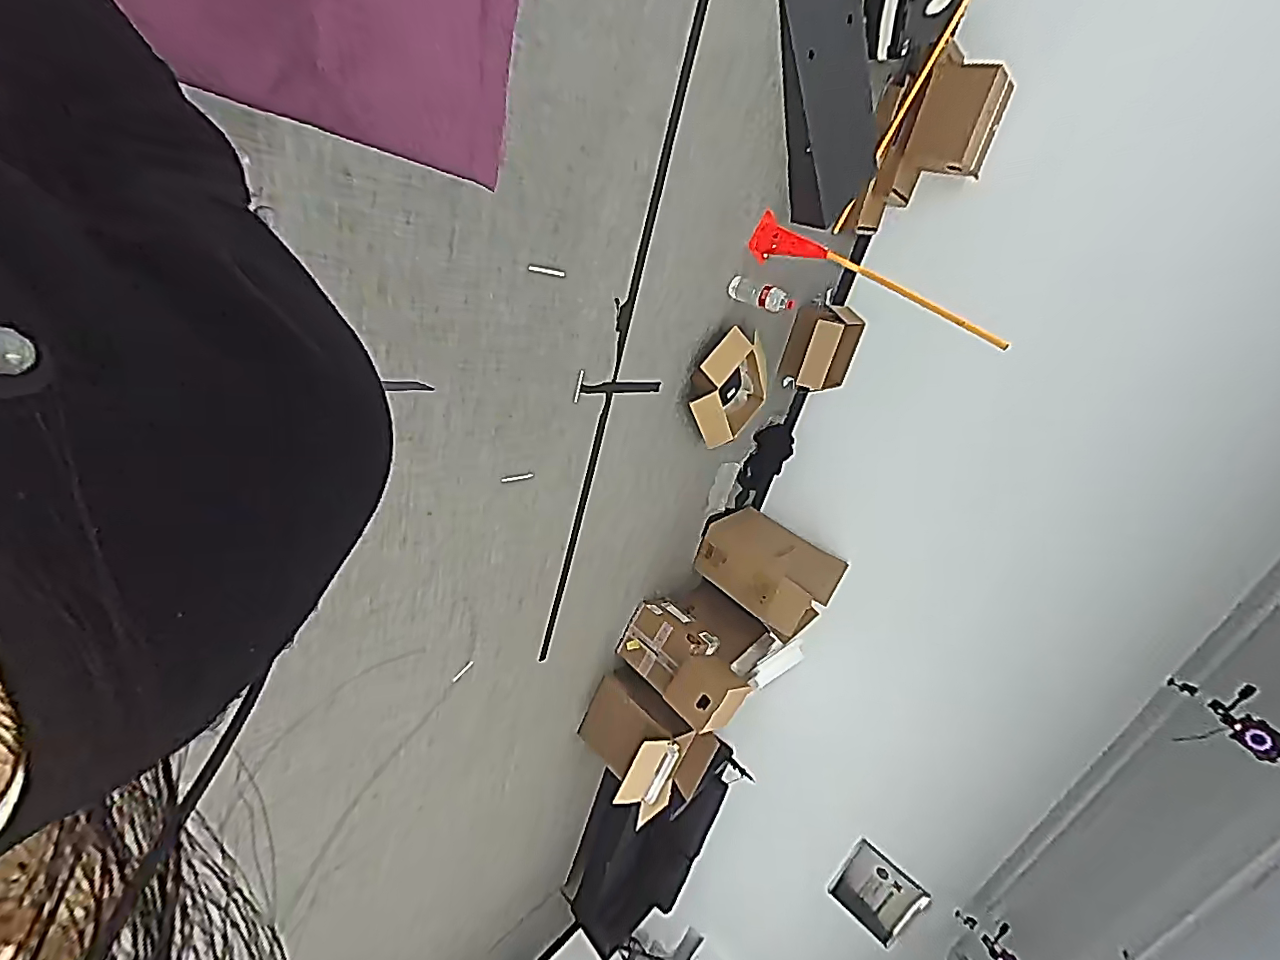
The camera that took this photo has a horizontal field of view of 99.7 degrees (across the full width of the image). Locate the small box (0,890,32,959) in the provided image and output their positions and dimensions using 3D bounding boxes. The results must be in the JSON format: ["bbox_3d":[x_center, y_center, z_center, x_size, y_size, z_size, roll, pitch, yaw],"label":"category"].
[{"bbox_3d":[-1.690,1.195,1.366,0.168,0.176,0.179,-24,135,-43],"label":"small box"}]
